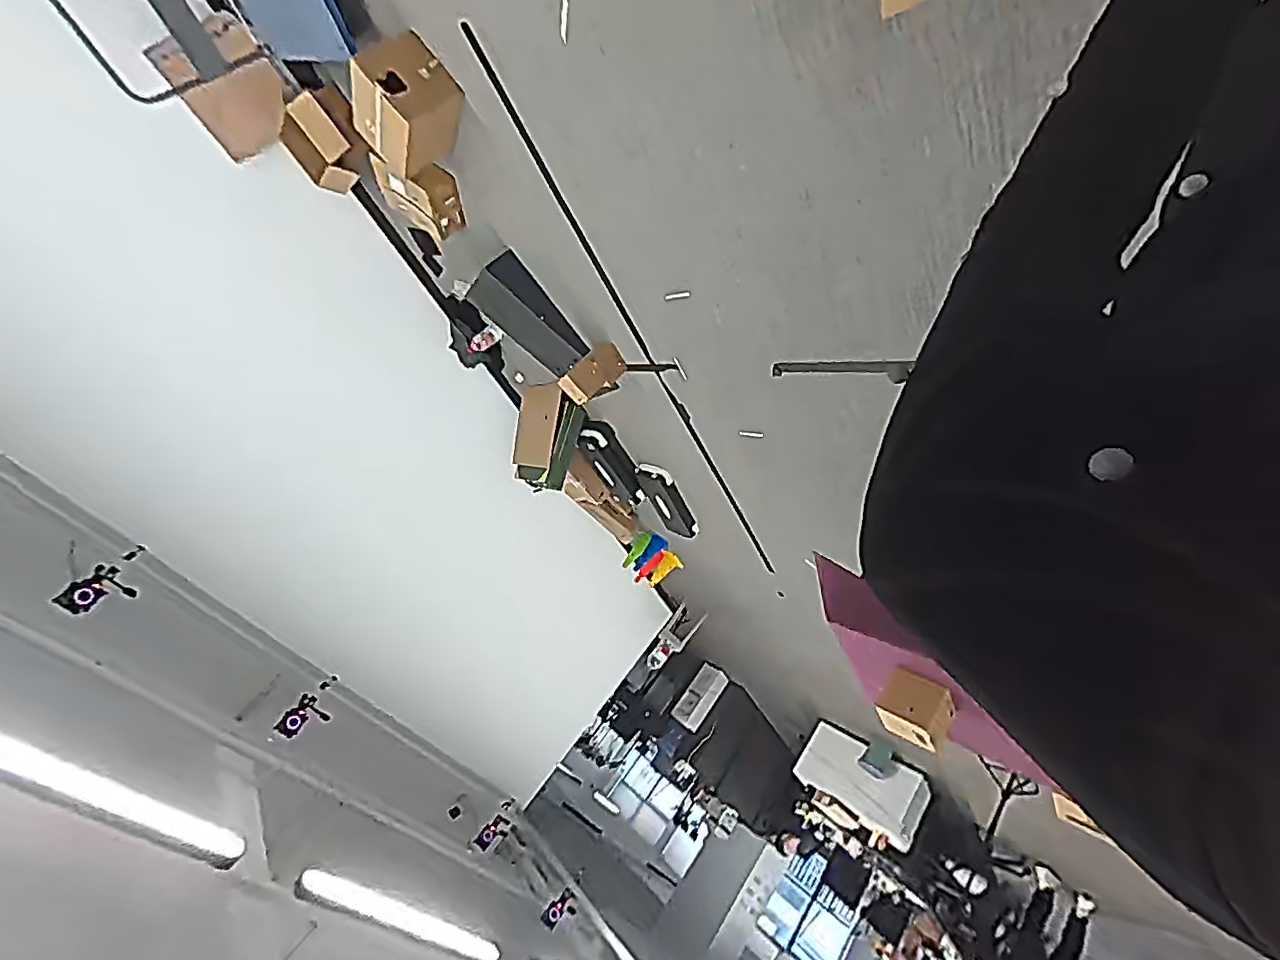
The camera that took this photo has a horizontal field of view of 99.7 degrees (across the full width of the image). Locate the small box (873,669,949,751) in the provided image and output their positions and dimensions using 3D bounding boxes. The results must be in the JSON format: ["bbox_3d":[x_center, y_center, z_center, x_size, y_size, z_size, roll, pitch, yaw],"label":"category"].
[{"bbox_3d":[0.934,0.780,1.849,0.179,0.176,0.168,14,145,50],"label":"small box"}]
